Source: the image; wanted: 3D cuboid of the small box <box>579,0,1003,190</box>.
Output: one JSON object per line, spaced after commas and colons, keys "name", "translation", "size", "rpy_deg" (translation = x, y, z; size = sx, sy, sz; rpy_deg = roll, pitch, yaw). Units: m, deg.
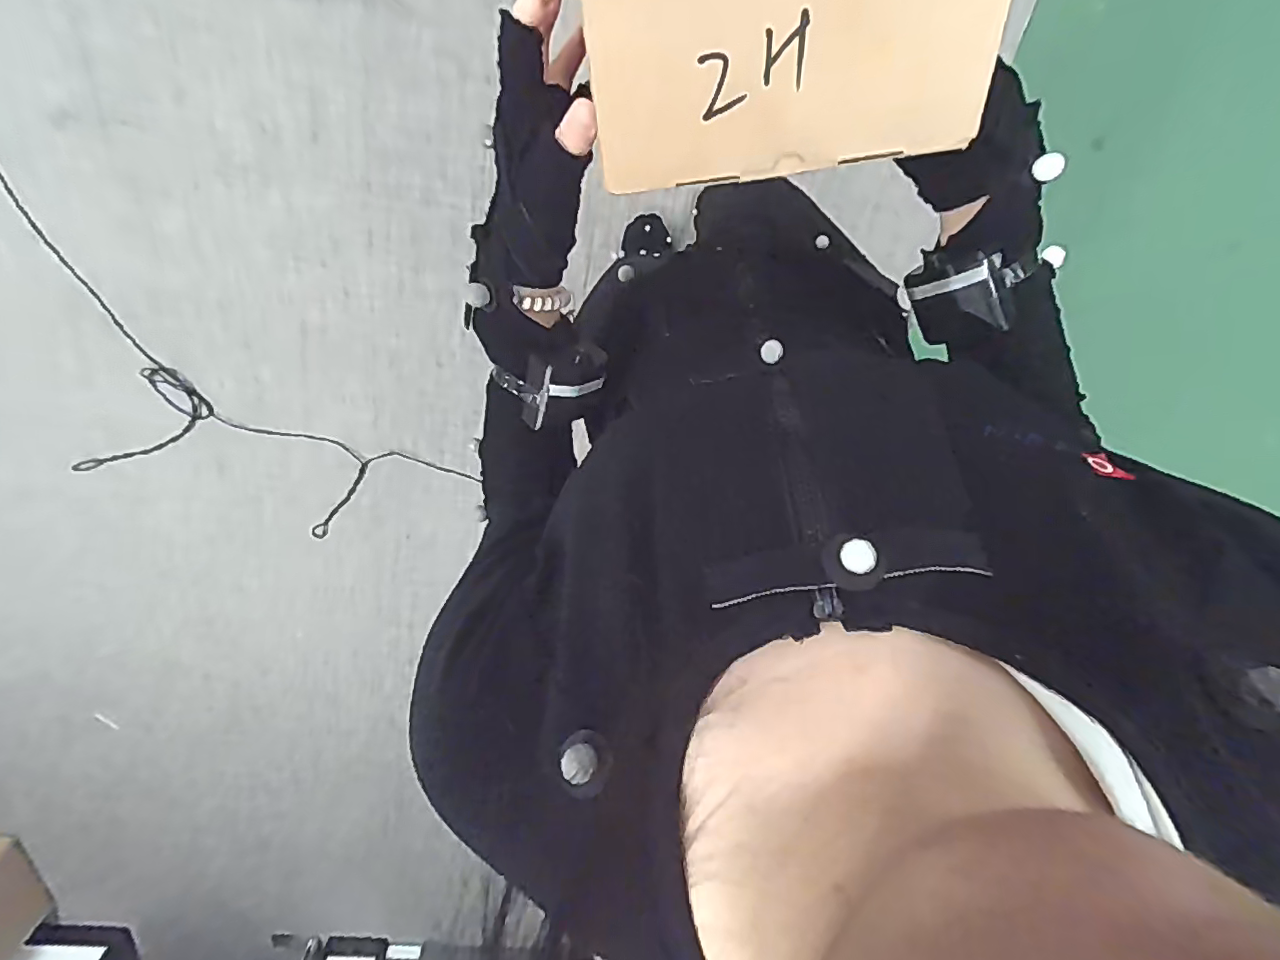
{"name": "small box", "translation": [0.051, -0.257, 0.251], "size": [0.168, 0.176, 0.179], "rpy_deg": [-7, 130, 2]}
